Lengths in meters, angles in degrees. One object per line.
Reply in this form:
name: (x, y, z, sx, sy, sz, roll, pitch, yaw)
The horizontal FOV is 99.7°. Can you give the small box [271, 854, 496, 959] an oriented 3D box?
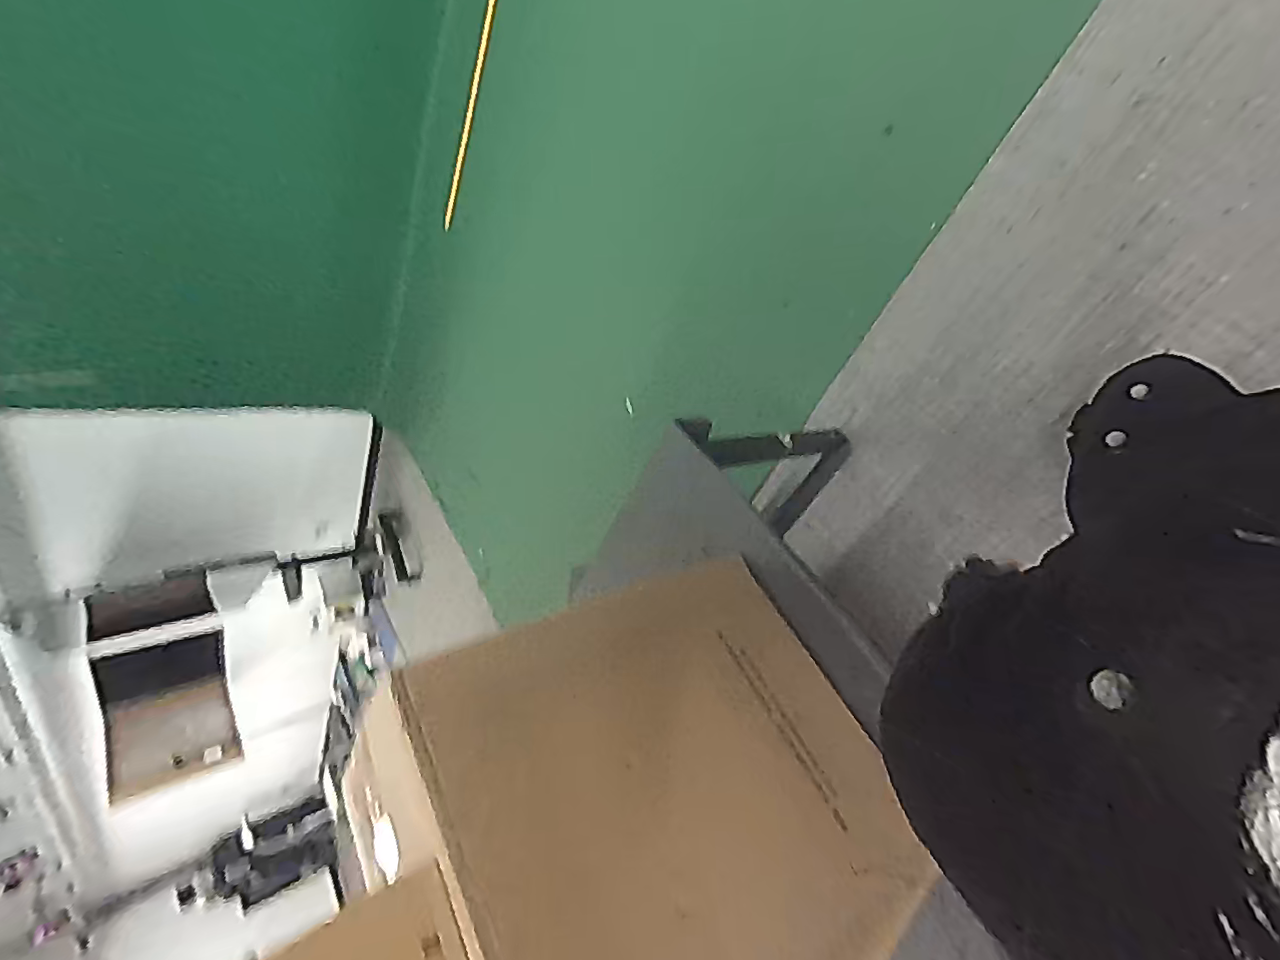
small box: (-0.230, 0.473, 0.479, 0.168, 0.176, 0.179, 57, 131, 26)
